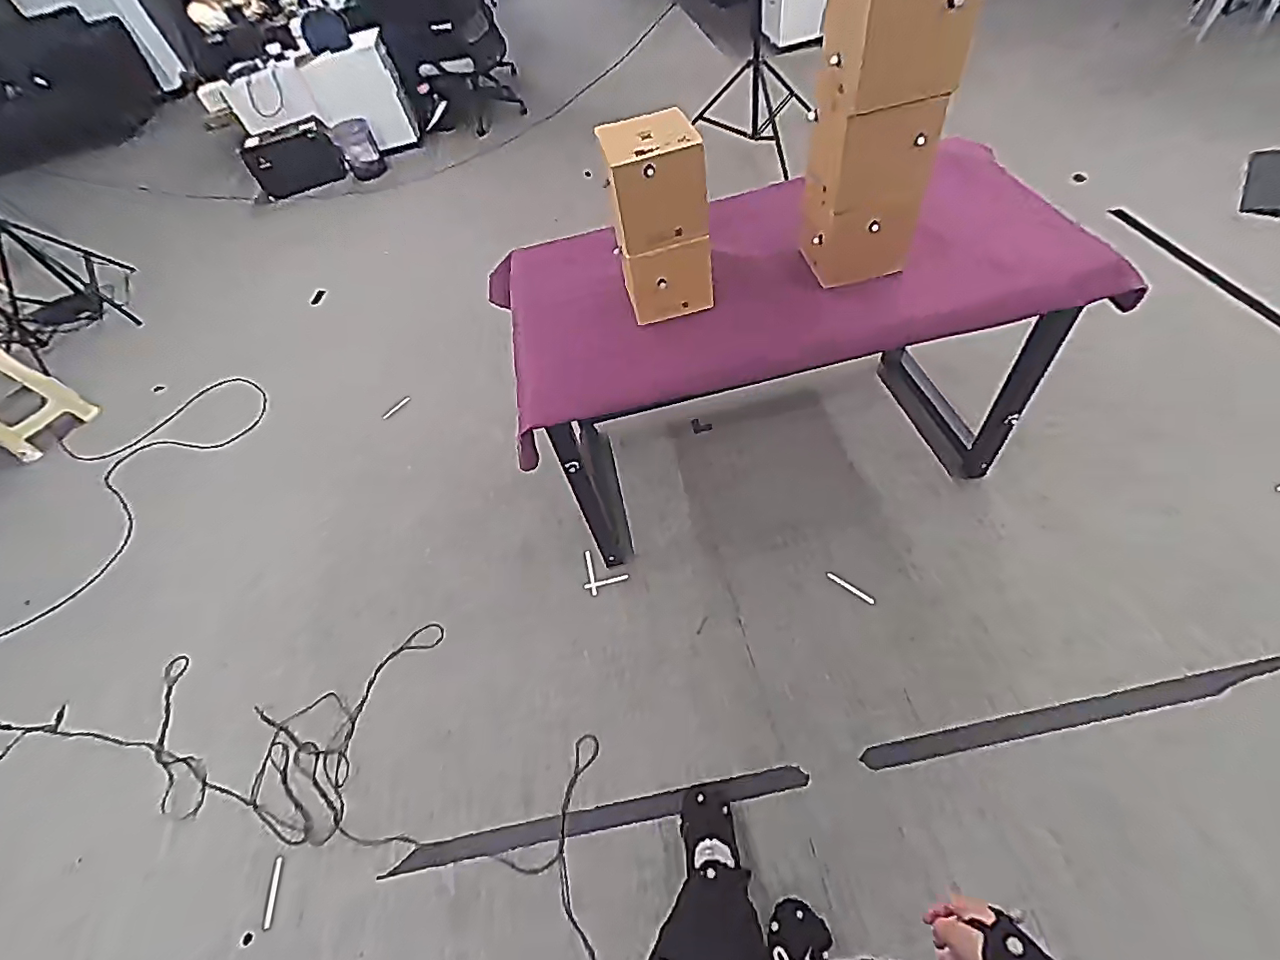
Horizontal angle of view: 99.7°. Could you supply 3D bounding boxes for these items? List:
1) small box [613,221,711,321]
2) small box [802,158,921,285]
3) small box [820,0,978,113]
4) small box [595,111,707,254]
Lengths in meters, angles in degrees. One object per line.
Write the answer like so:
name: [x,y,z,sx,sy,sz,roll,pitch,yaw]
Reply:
small box: [0.050,-0.462,1.155,0.168,0.176,0.179,-15,52,1]
small box: [0.446,-0.532,1.126,0.179,0.176,0.168,-12,54,2]
small box: [0.403,-0.722,0.859,0.179,0.176,0.168,-13,53,2]
small box: [0.023,-0.563,1.028,0.168,0.176,0.179,-16,52,0]
